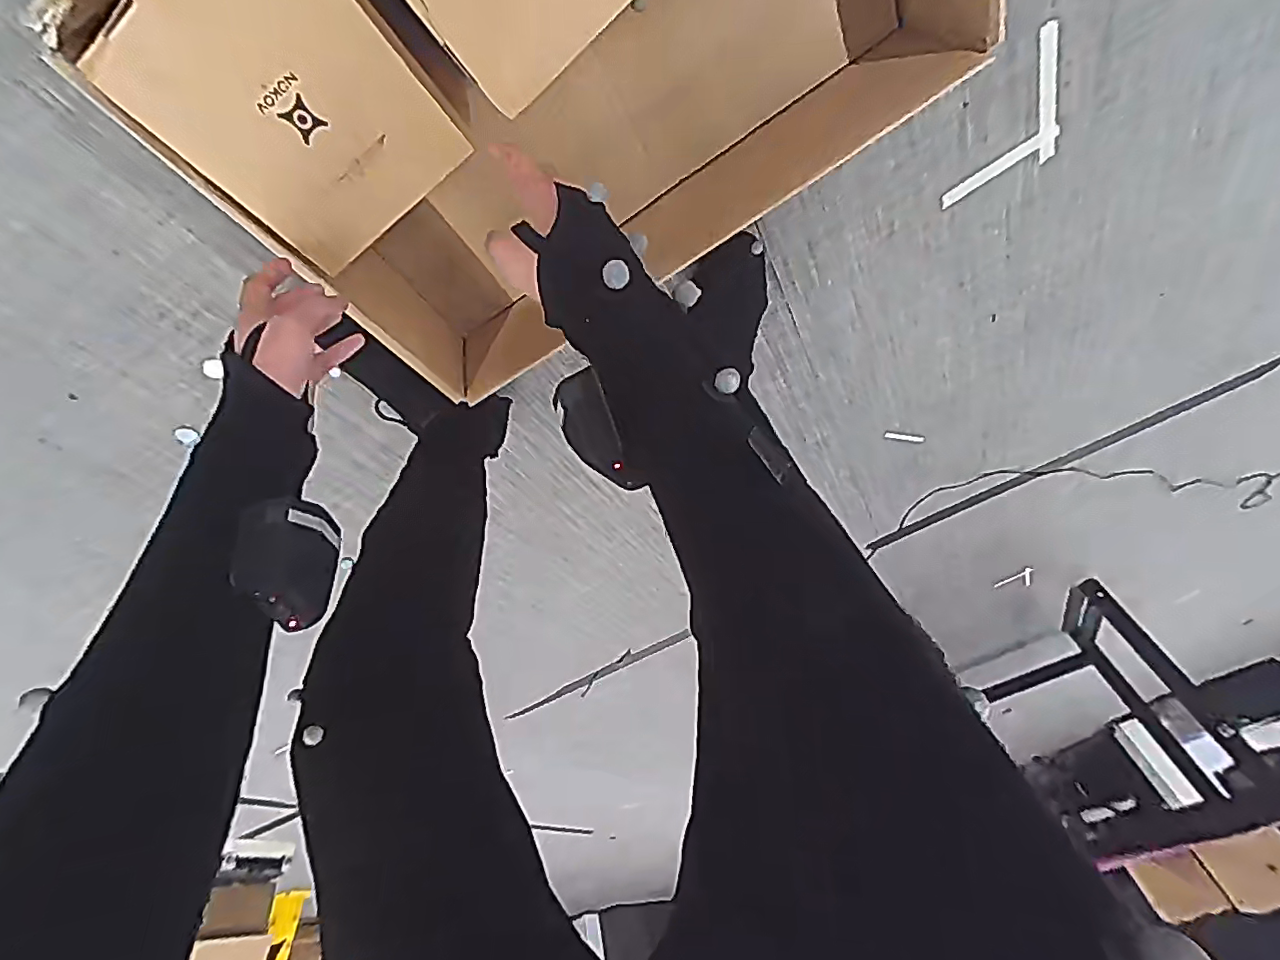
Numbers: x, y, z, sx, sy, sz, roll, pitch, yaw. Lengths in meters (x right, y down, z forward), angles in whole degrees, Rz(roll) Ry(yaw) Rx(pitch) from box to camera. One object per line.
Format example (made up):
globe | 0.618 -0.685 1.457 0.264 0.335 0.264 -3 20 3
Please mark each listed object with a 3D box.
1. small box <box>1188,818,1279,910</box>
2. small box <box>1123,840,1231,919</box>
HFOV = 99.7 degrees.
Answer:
small box | 1.697 1.057 1.495 0.179 0.176 0.168 -29 136 13
small box | 1.693 1.265 1.718 0.168 0.176 0.179 -29 137 14
